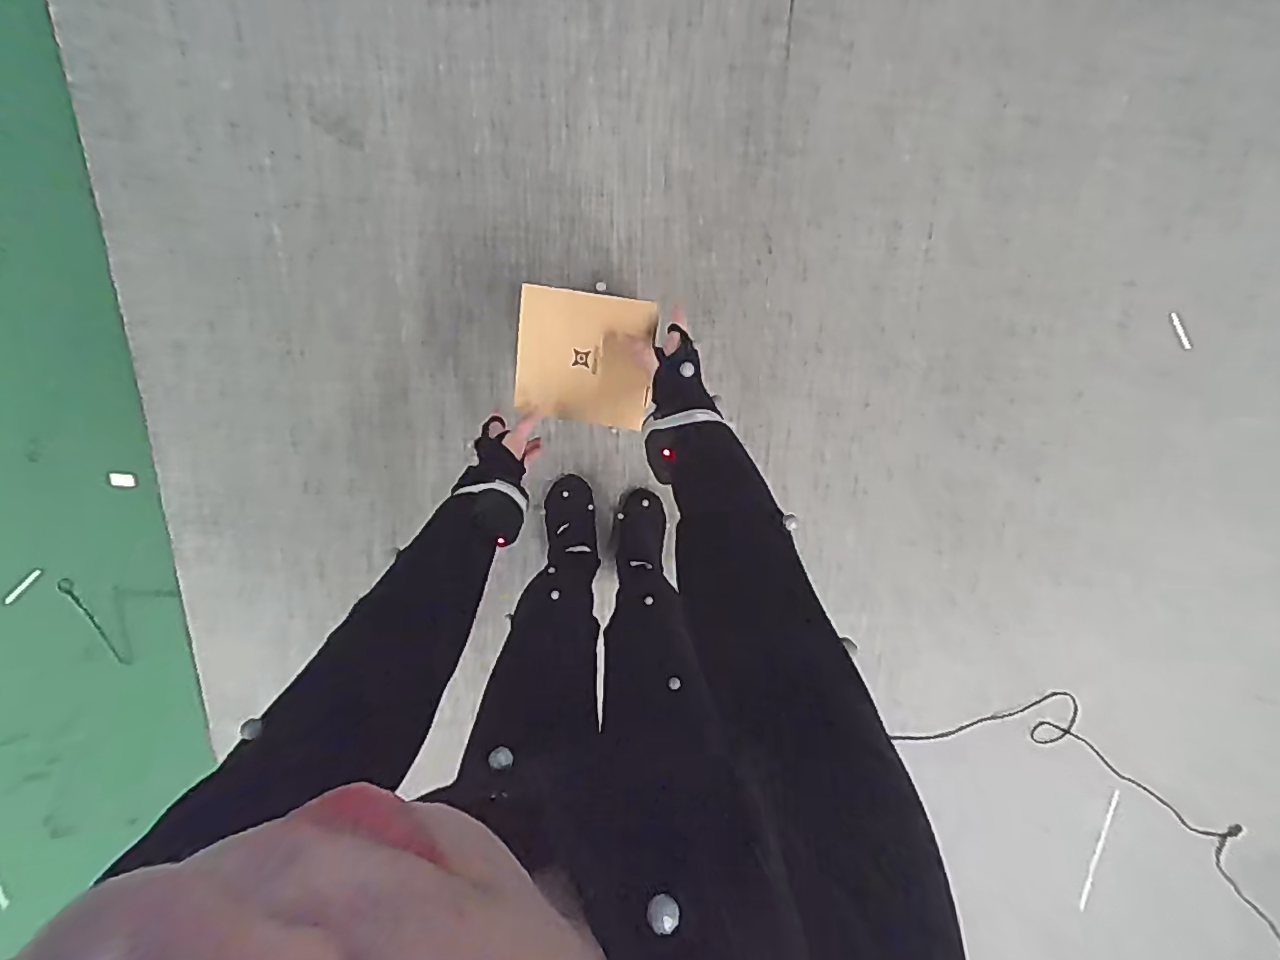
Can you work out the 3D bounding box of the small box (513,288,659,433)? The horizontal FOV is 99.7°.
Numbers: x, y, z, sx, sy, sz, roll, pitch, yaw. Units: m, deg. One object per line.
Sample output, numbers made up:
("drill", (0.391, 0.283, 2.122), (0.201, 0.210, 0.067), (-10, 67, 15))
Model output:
("small box", (-0.076, -0.172, 0.779), (0.179, 0.176, 0.168), (7, 105, -5))
